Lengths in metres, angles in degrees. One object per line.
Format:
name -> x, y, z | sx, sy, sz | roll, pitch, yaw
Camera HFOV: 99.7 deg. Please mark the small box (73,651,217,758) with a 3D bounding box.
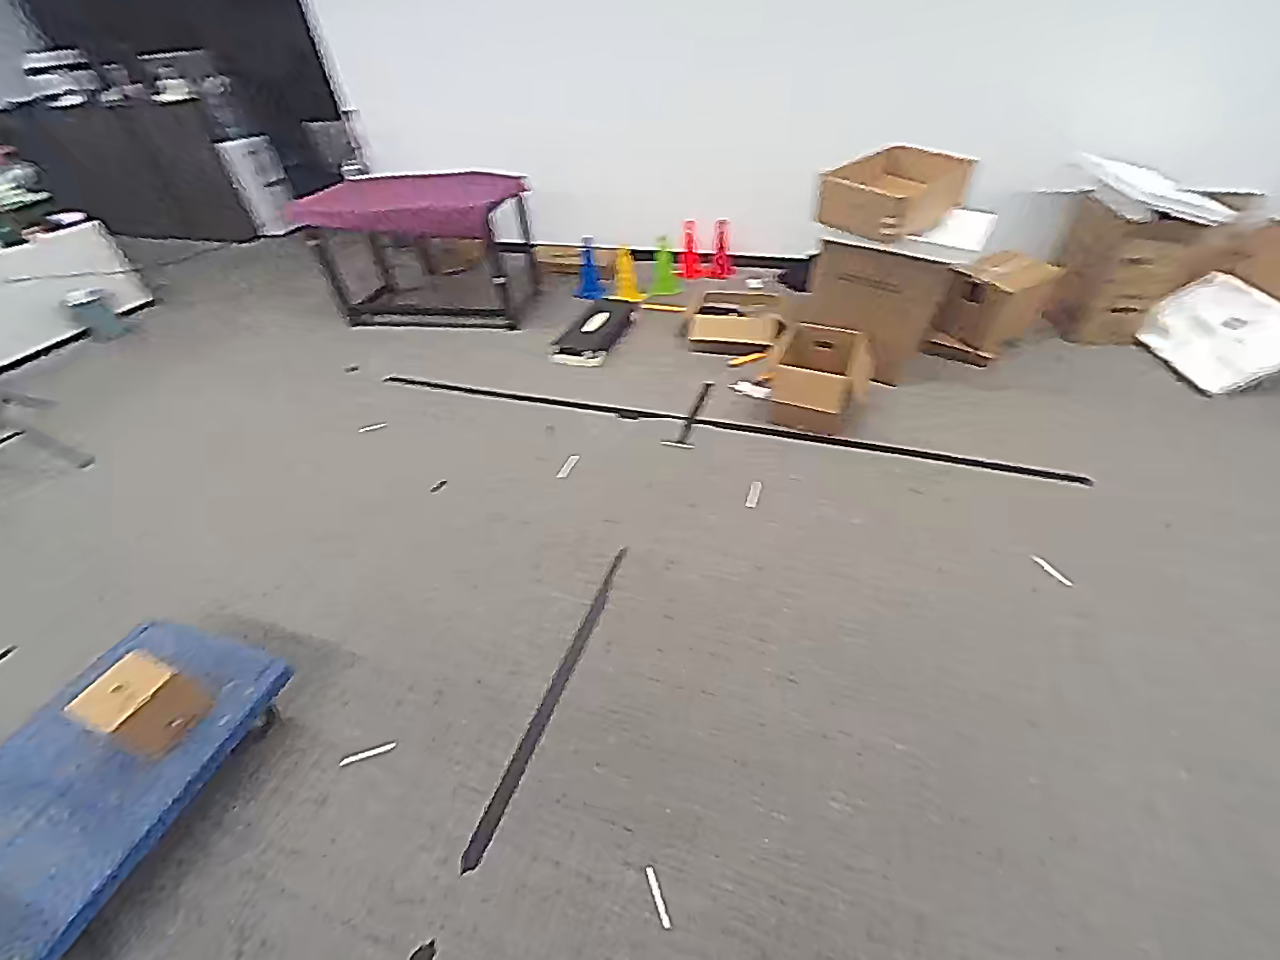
small box -> -1.231, 0.564, 1.357 | 0.179, 0.176, 0.168 | 13, 45, 19
